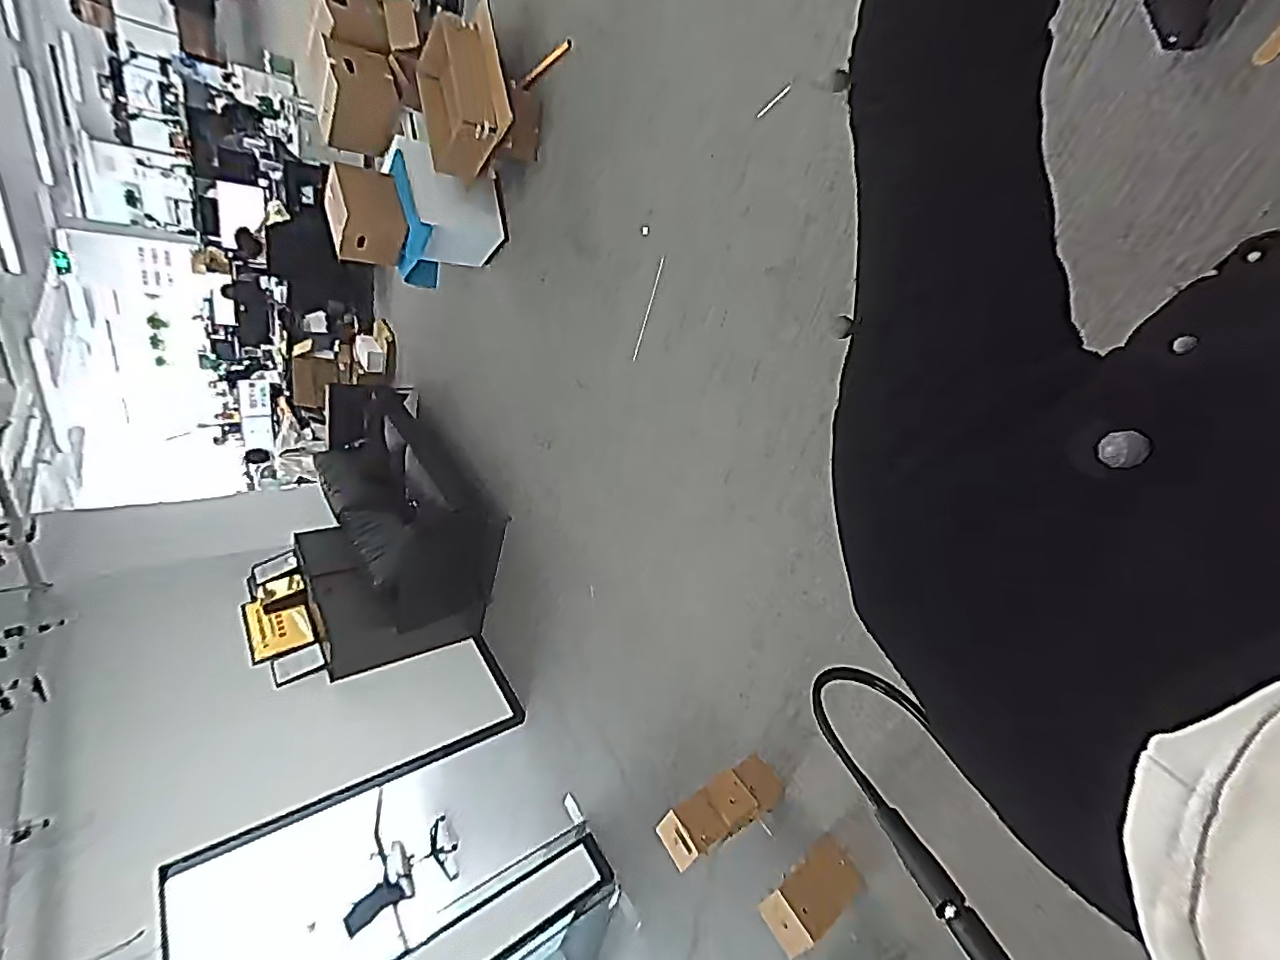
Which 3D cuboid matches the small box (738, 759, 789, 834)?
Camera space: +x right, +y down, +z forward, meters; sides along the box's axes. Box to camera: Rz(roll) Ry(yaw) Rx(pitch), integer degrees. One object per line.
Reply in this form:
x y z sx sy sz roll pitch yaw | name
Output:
0.468 1.273 2.189 0.179 0.176 0.168 46 129 37 | small box

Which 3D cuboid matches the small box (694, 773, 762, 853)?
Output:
0.344 1.275 2.083 0.168 0.176 0.179 42 127 39 | small box

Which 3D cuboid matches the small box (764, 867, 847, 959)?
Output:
0.567 1.478 1.841 0.179 0.176 0.168 48 130 35 | small box

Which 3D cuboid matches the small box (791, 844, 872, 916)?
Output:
0.690 1.455 1.949 0.179 0.176 0.168 48 130 36 | small box
